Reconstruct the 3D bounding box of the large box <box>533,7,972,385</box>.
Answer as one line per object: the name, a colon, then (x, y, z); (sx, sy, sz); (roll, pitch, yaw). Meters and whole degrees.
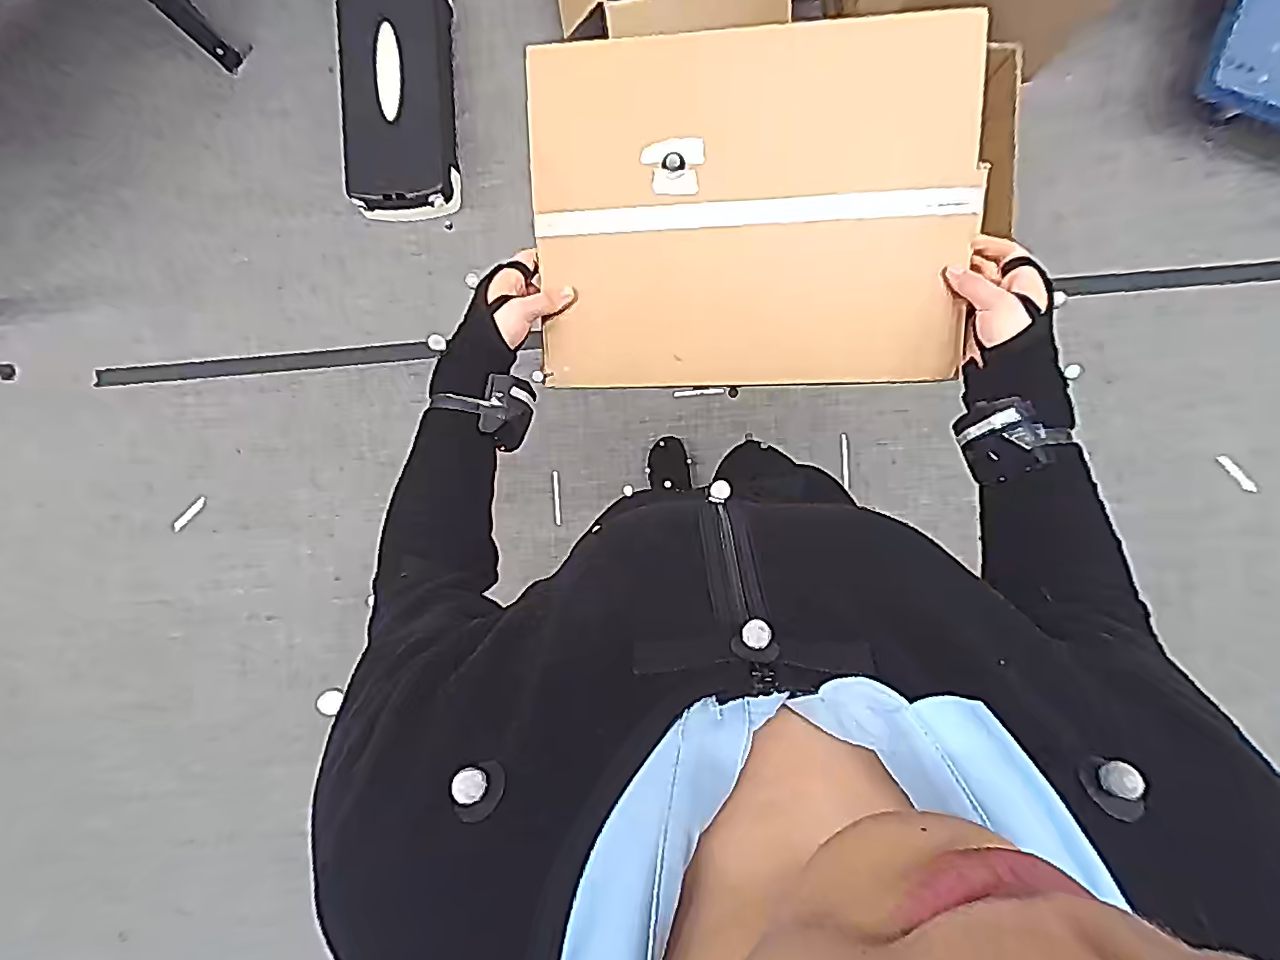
large box: (0.118, -0.282, 0.662); (0.408, 0.320, 0.320); (0, 99, 7)
